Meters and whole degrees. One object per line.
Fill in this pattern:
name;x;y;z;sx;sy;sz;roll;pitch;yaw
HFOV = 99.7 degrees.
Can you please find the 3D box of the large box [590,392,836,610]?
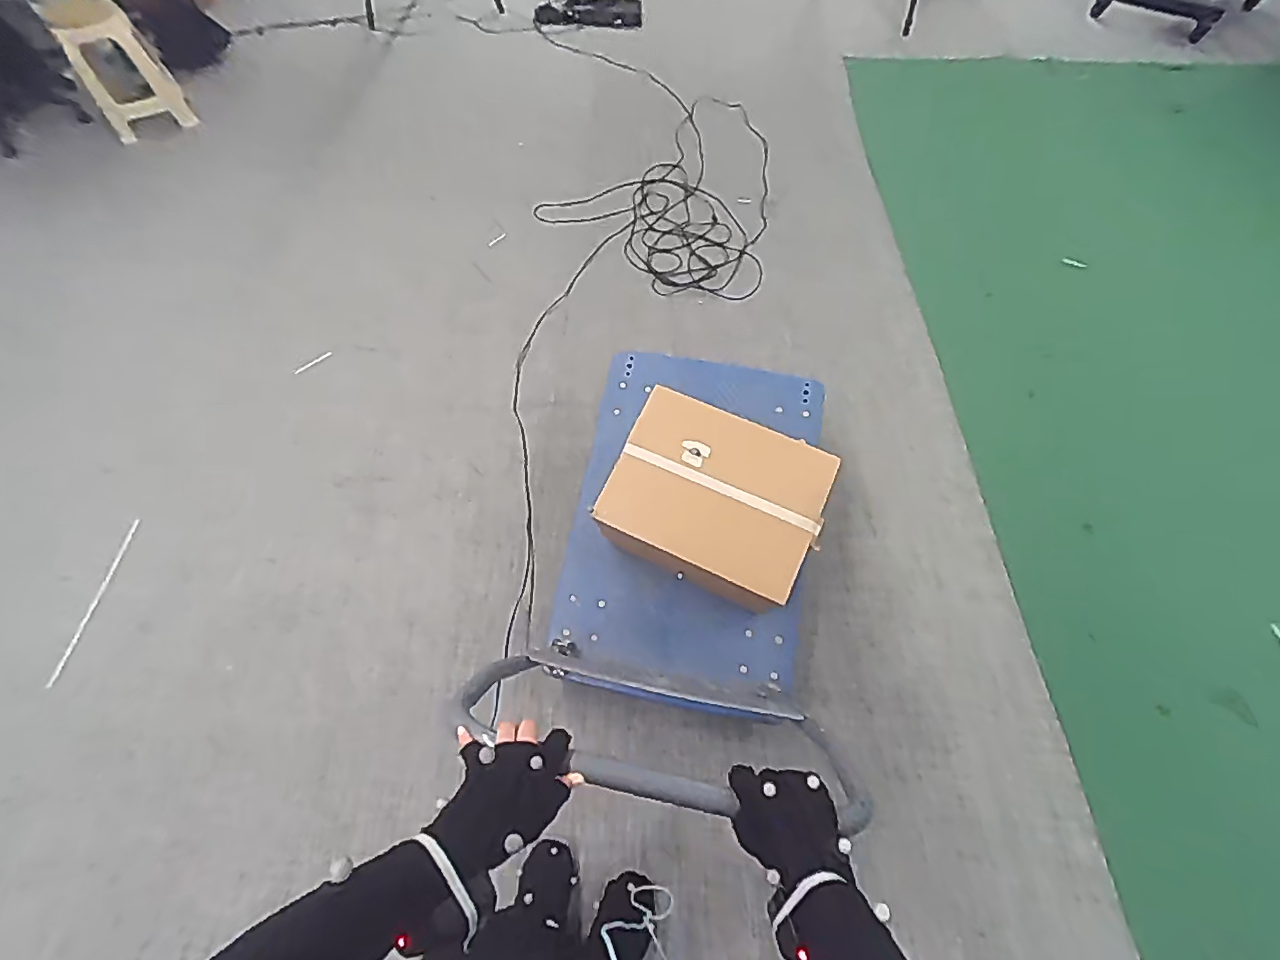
large box;0.157;0.064;1.198;0.408;0.320;0.320;24;76;11
